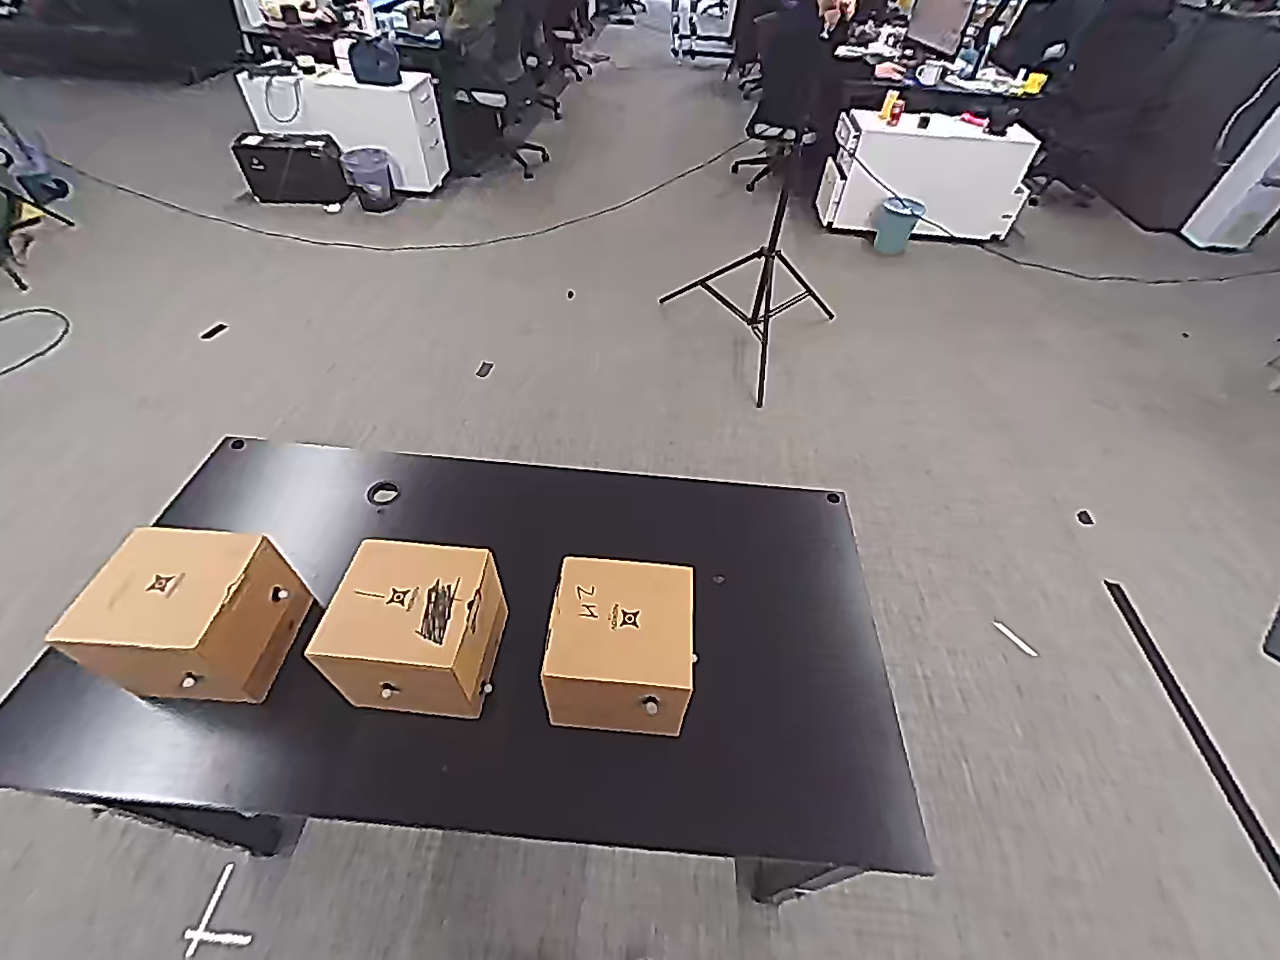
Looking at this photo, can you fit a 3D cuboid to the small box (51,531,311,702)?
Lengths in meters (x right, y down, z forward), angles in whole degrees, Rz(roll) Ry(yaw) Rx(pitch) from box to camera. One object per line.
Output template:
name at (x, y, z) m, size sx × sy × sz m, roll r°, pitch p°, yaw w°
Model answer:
small box at (-0.589, 0.187, 0.730) m, size 0.179 × 0.176 × 0.168 m, roll 3°, pitch 47°, yaw -1°

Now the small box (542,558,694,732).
small box at (-0.024, 0.225, 0.729) m, size 0.179 × 0.176 × 0.168 m, roll 4°, pitch 47°, yaw 1°

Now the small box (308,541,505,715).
small box at (-0.294, 0.204, 0.732) m, size 0.179 × 0.176 × 0.168 m, roll 5°, pitch 48°, yaw 2°
